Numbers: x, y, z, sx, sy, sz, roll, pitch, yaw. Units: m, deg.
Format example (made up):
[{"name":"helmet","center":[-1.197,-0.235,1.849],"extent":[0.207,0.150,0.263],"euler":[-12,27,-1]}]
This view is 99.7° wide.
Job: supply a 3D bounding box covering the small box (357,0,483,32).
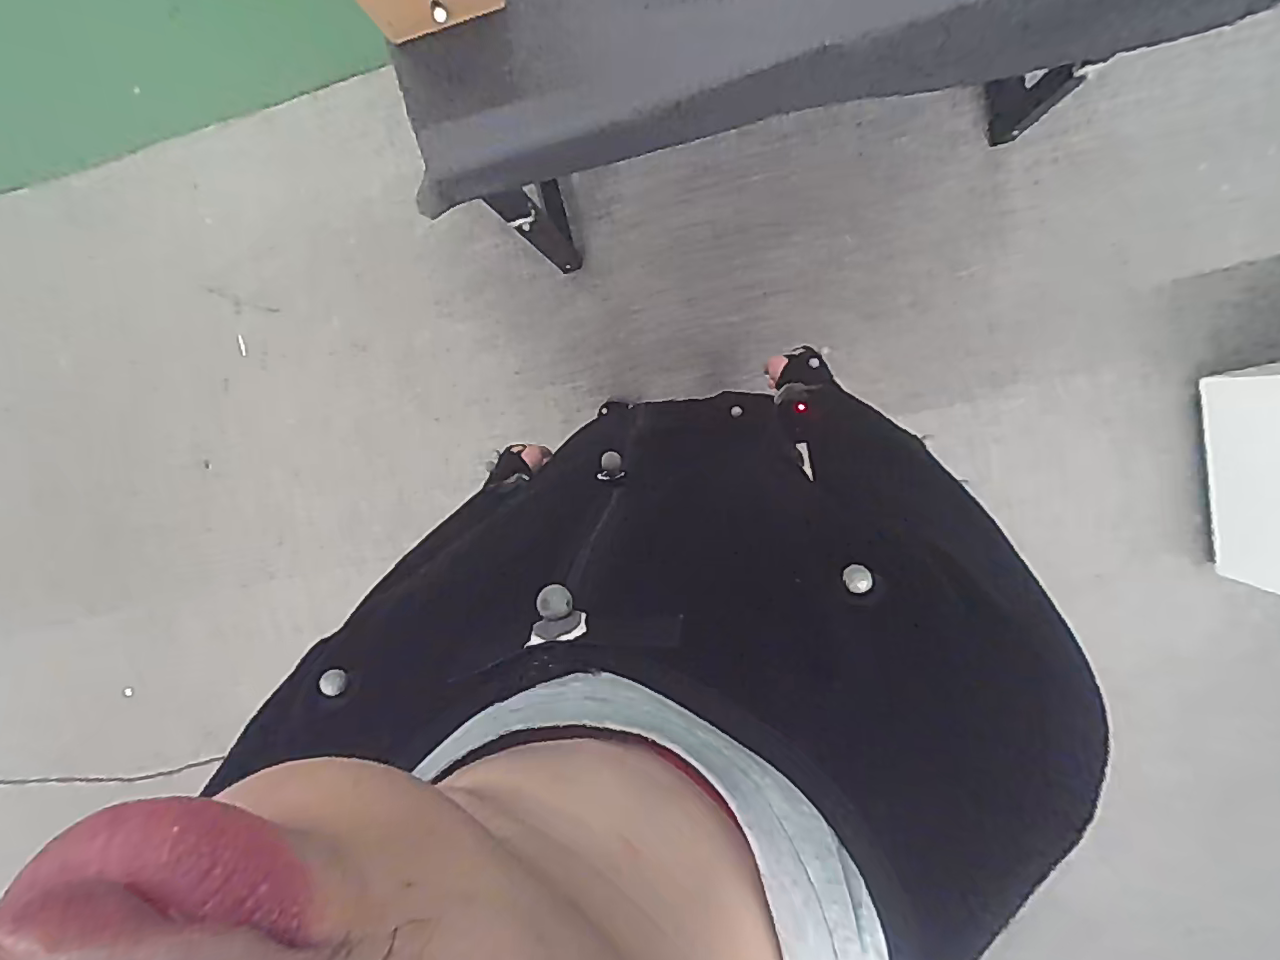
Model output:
[{"name":"small box","center":[-0.296,-0.703,0.656],"extent":[0.179,0.176,0.168],"euler":[-13,96,5]}]
